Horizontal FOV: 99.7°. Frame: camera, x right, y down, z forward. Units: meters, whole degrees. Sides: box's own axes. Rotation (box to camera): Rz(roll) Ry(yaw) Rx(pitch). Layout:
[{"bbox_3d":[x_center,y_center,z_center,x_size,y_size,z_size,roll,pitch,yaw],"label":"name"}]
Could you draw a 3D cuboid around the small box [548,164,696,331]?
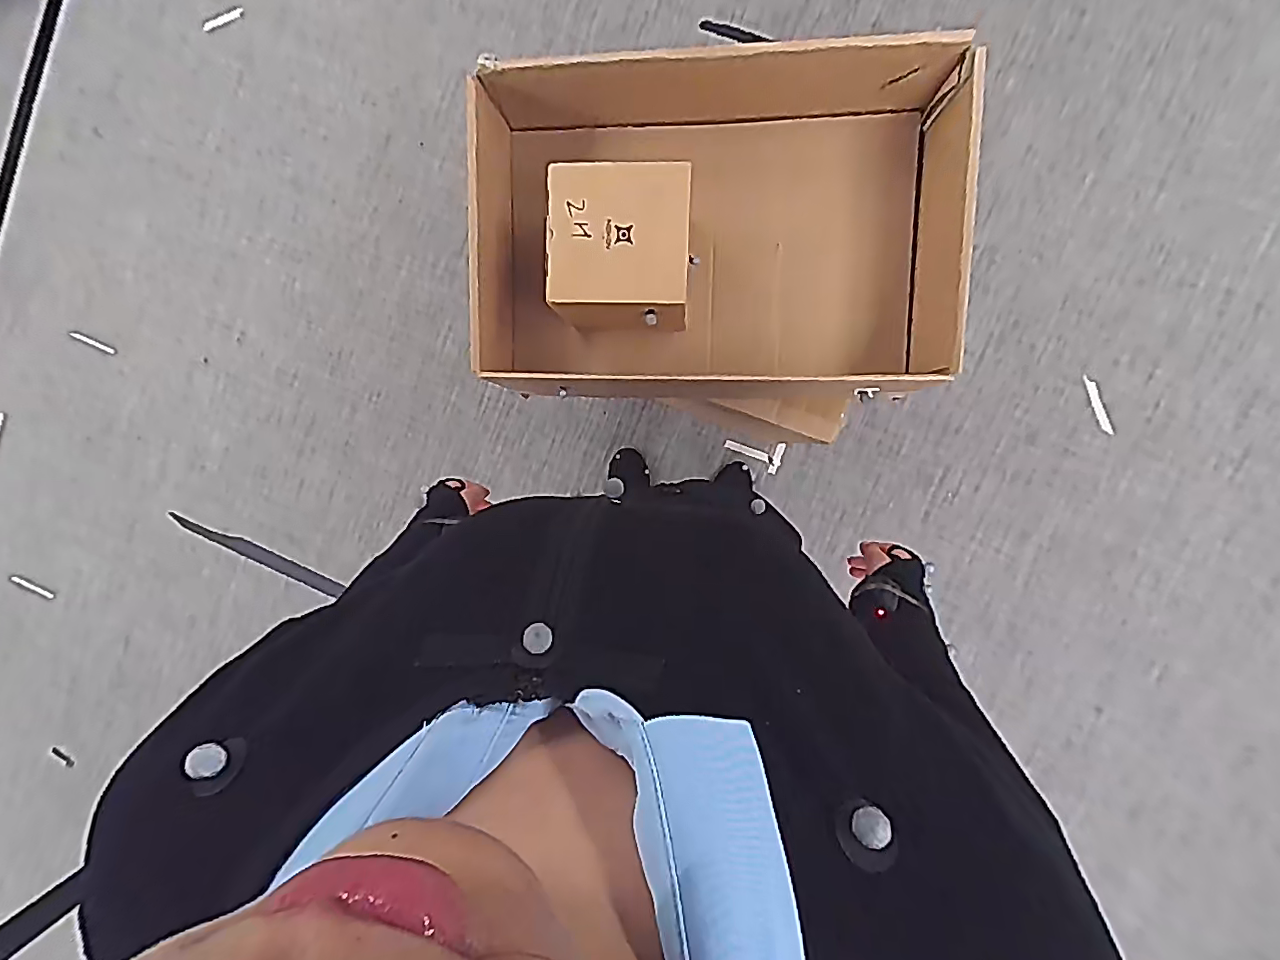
[{"bbox_3d":[-0.018,-0.302,0.732,0.179,0.176,0.168,3,95,5],"label":"small box"}]
